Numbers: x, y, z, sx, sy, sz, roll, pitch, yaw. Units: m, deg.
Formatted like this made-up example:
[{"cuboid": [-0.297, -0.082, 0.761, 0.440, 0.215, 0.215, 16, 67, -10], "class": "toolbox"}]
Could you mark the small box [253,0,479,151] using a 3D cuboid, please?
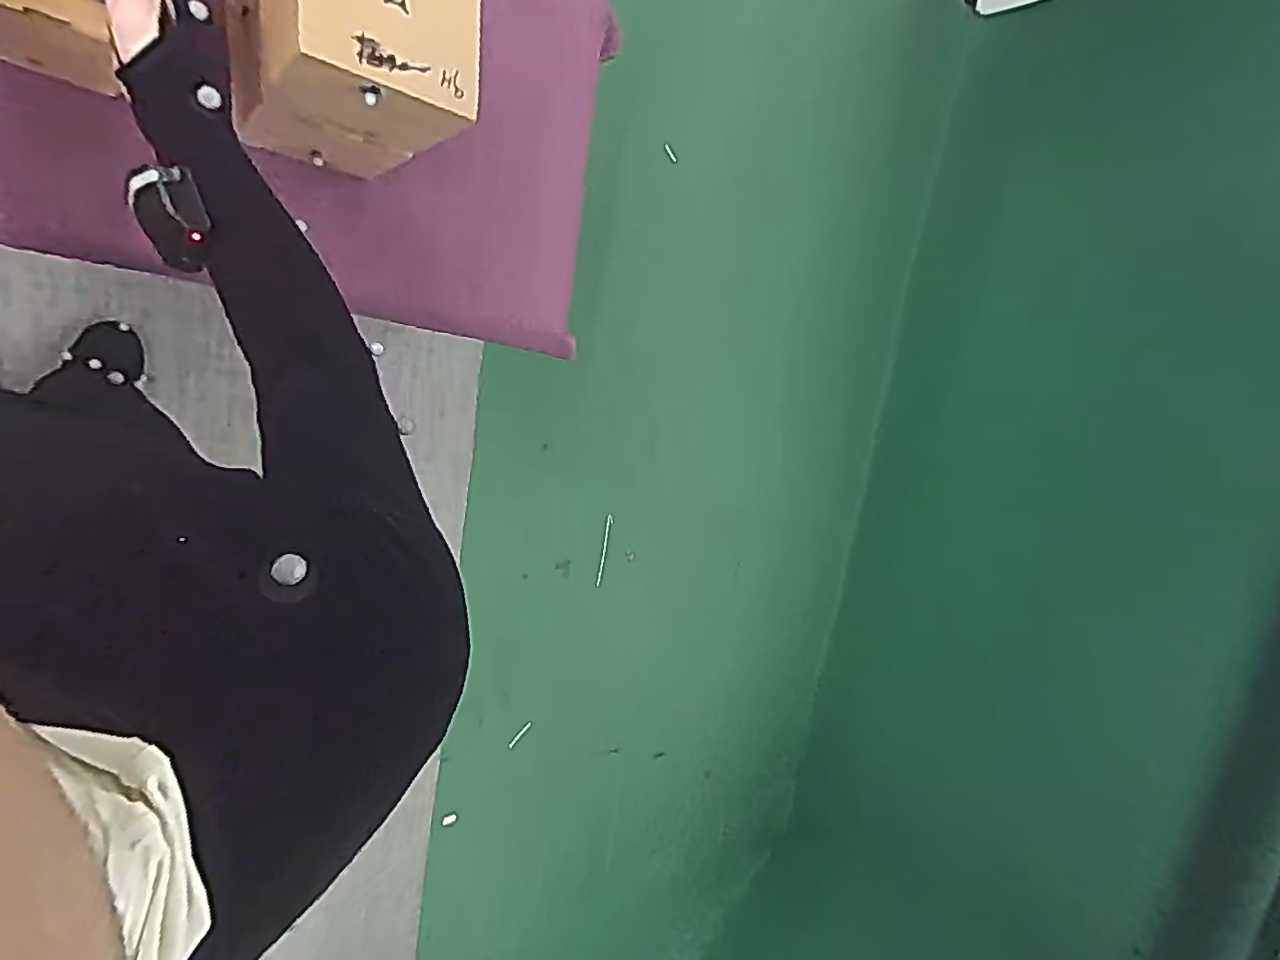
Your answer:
[{"cuboid": [-0.279, -0.469, 0.547, 0.168, 0.176, 0.179, -6, 106, -44], "class": "small box"}]

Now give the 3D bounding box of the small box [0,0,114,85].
[{"cuboid": [-0.583, -0.497, 0.473, 0.168, 0.176, 0.179, -4, 106, -45], "class": "small box"}]

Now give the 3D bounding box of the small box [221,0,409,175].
[{"cuboid": [-0.395, -0.503, 0.660, 0.168, 0.176, 0.179, -5, 106, -44], "class": "small box"}]
